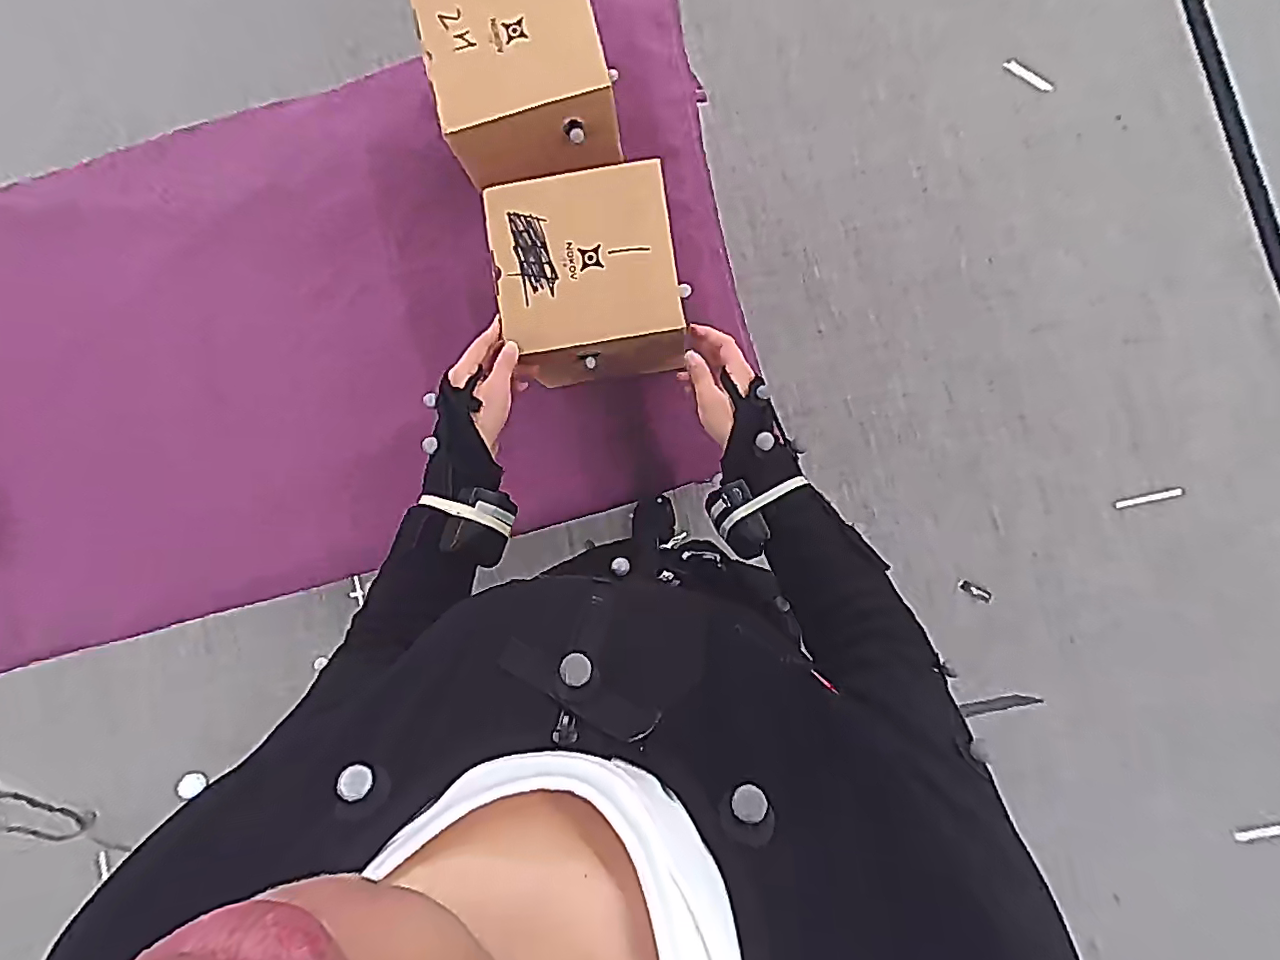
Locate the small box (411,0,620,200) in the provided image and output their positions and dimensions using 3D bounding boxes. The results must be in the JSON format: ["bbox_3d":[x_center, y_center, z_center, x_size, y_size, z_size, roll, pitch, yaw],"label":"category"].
[{"bbox_3d":[-0.124,-0.434,0.611,0.179,0.176,0.168,-14,87,4],"label":"small box"}]

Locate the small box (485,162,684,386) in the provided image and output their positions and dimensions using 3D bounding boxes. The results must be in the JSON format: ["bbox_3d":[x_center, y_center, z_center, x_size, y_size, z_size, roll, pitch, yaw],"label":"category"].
[{"bbox_3d":[-0.048,-0.207,0.593,0.179,0.176,0.168,-8,90,4],"label":"small box"}]
